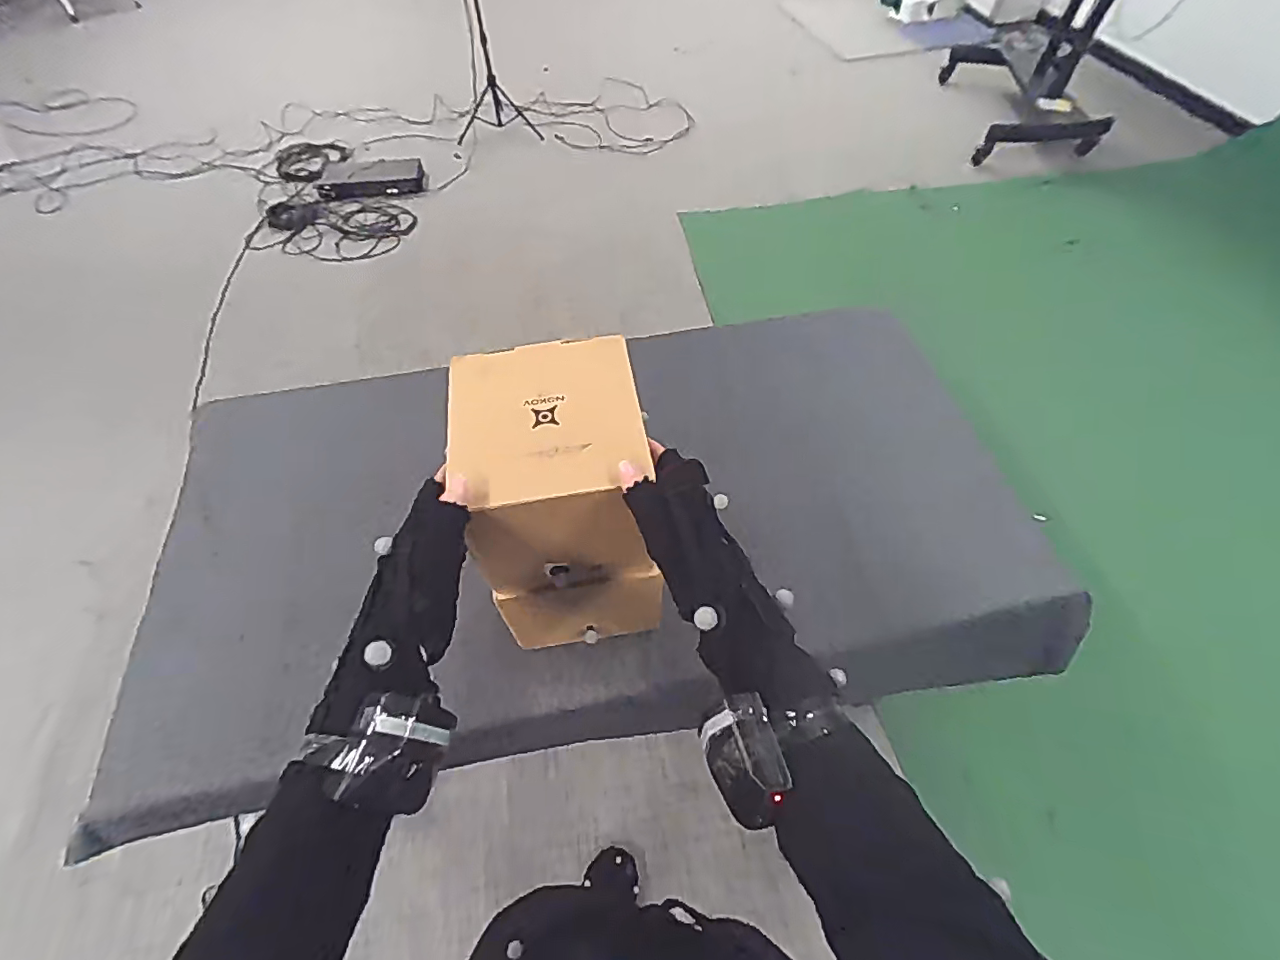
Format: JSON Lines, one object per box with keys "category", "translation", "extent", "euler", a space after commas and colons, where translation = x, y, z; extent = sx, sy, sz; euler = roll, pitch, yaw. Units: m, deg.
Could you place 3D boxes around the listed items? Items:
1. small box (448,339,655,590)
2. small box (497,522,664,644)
{"category": "small box", "translation": [-0.081, -0.012, 0.538], "extent": [0.168, 0.176, 0.179], "euler": [-8, 57, -4]}
{"category": "small box", "translation": [-0.074, 0.088, 0.668], "extent": [0.179, 0.176, 0.168], "euler": [-8, 56, -6]}
